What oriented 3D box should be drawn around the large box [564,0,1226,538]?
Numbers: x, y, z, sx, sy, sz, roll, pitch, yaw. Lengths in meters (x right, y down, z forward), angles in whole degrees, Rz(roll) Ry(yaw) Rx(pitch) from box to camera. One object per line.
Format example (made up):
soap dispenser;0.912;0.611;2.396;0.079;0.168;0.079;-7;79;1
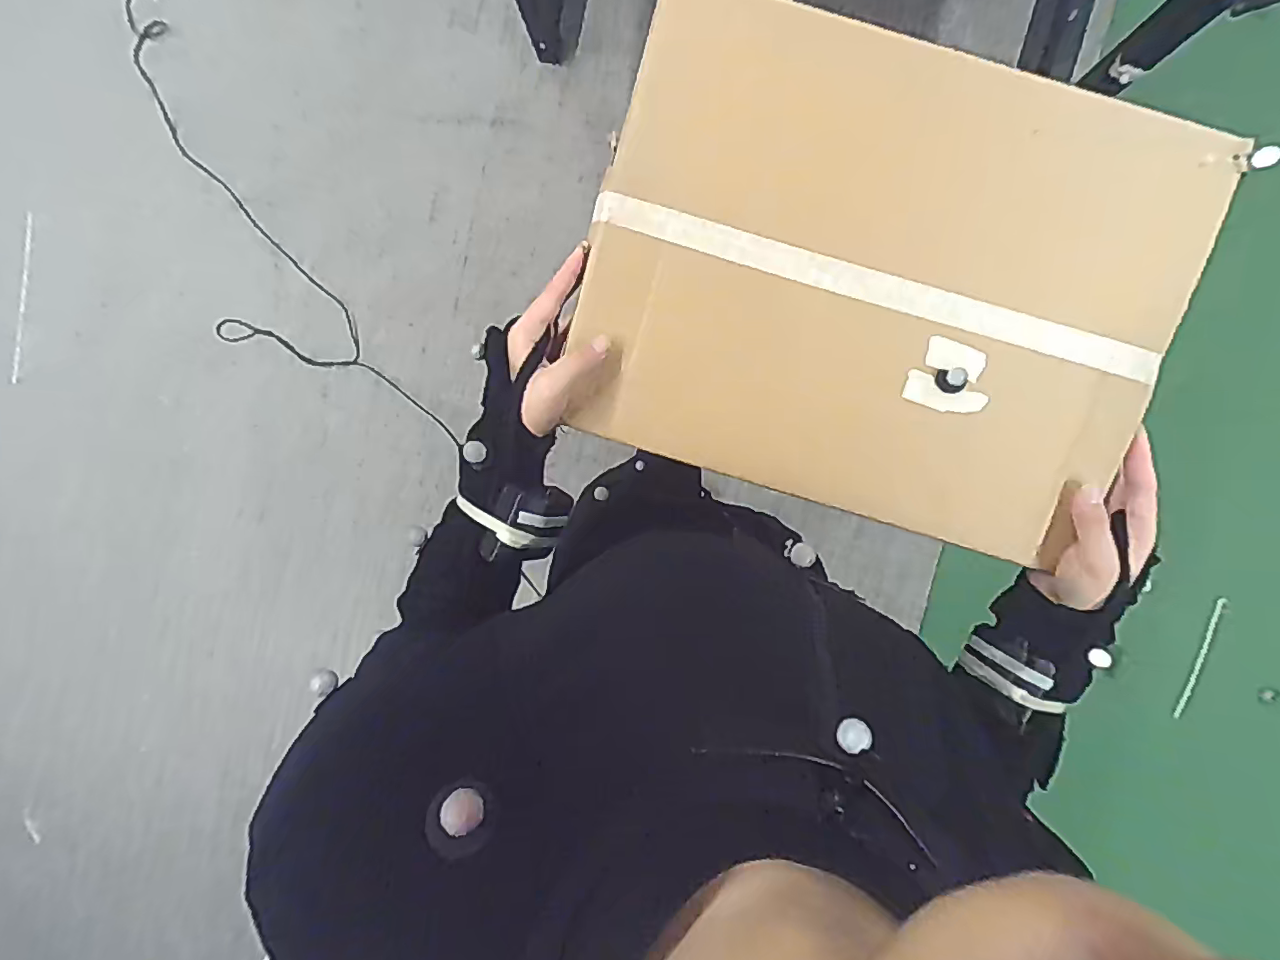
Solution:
large box;0.173;-0.172;0.534;0.408;0.320;0.320;16;99;-1
